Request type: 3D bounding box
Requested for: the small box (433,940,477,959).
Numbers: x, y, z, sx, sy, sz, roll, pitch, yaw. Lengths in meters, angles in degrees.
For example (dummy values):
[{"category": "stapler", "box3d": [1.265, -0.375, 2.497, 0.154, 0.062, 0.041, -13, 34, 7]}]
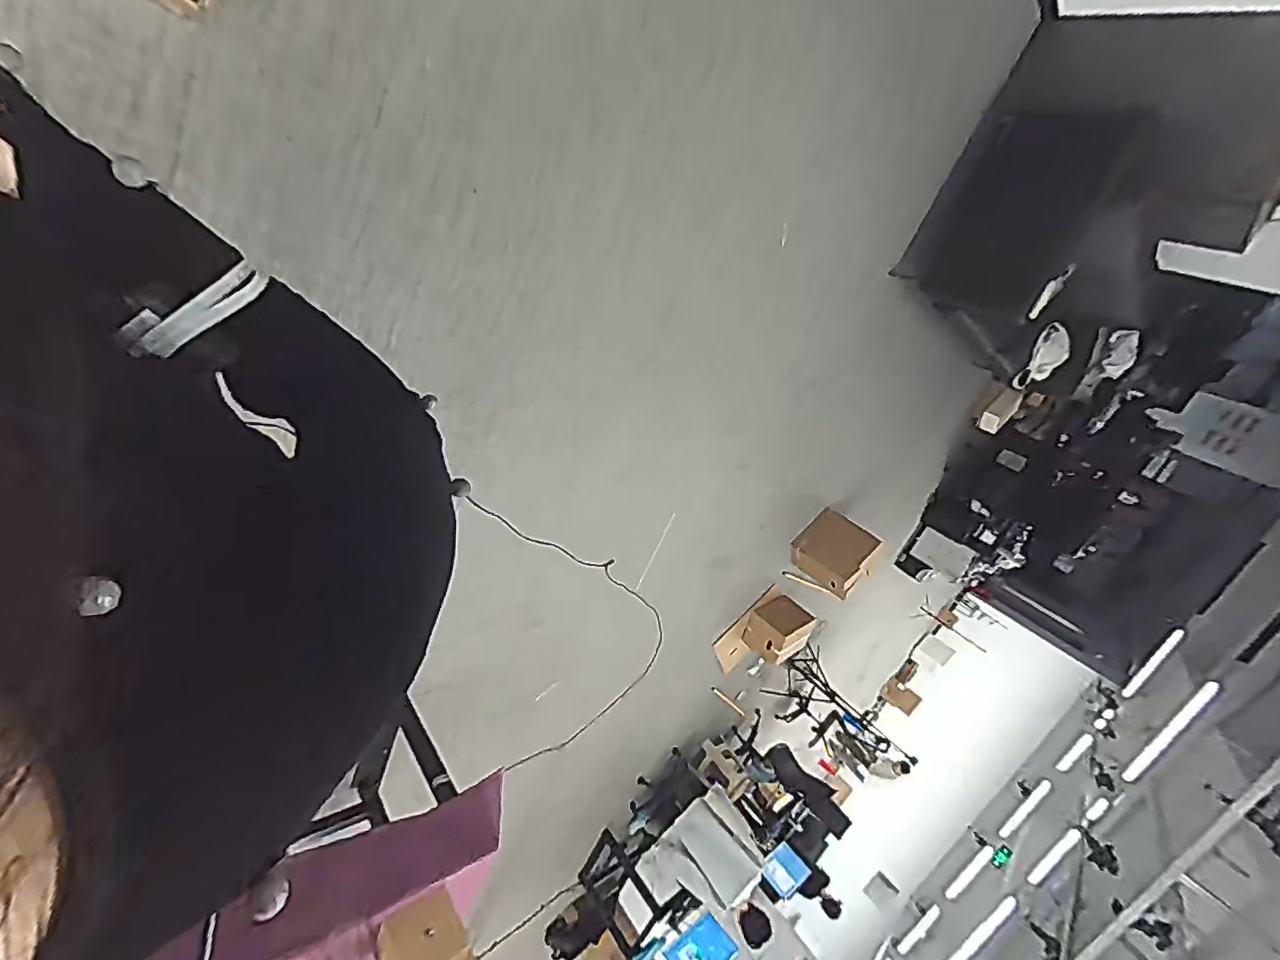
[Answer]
[{"category": "small box", "box3d": [-0.497, 1.342, 1.379, 0.168, 0.176, 0.179, 2, 118, -48]}]
